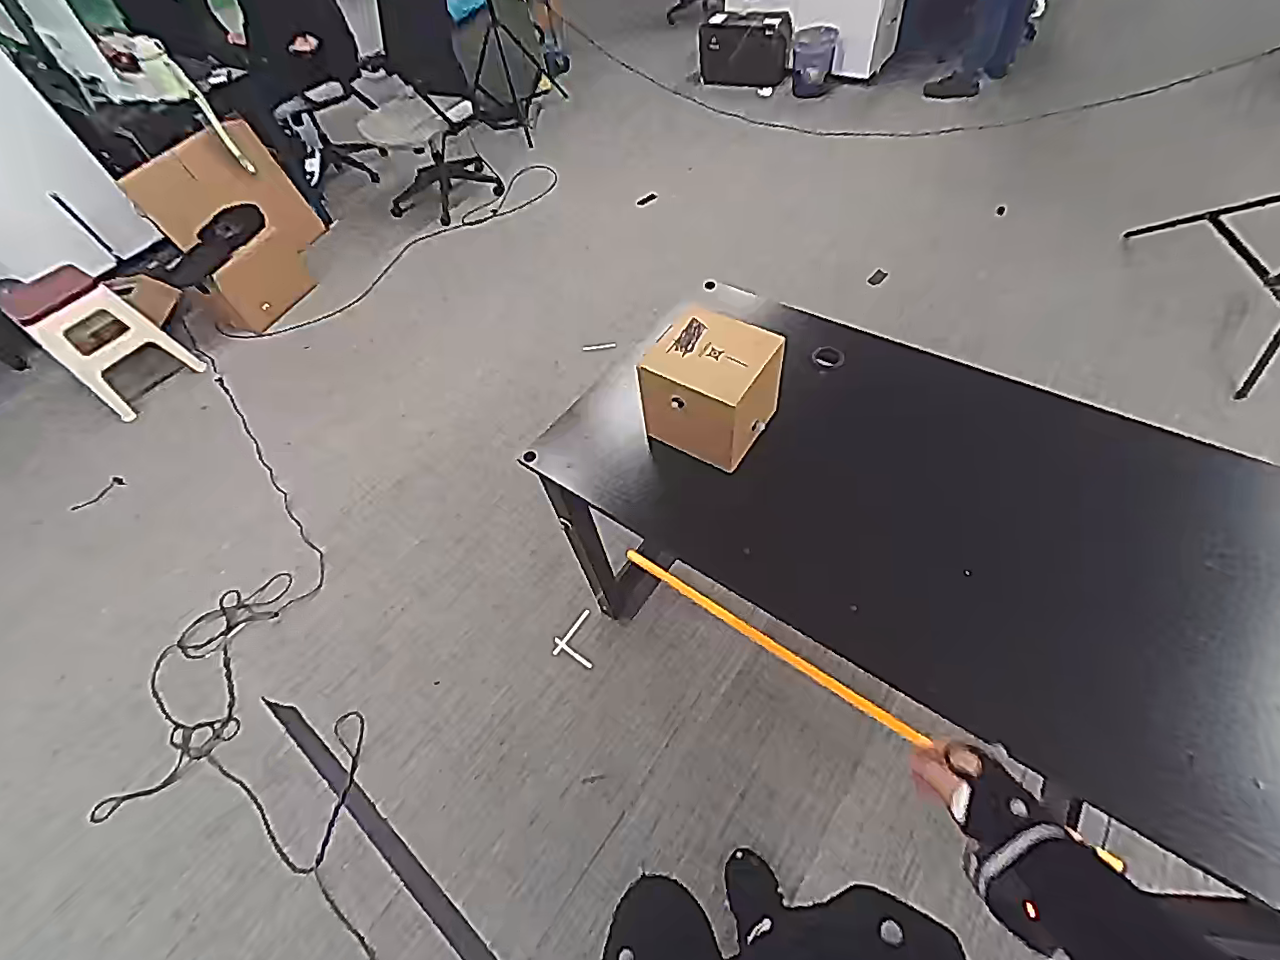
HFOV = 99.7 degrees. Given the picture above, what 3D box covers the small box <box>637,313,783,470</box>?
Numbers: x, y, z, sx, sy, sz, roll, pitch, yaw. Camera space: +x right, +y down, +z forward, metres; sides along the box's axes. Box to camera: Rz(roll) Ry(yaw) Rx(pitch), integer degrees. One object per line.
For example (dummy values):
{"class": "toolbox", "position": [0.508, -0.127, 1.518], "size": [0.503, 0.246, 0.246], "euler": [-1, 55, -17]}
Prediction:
{"class": "small box", "position": [0.117, -0.145, 0.910], "size": [0.179, 0.176, 0.168], "euler": [27, 63, 23]}
